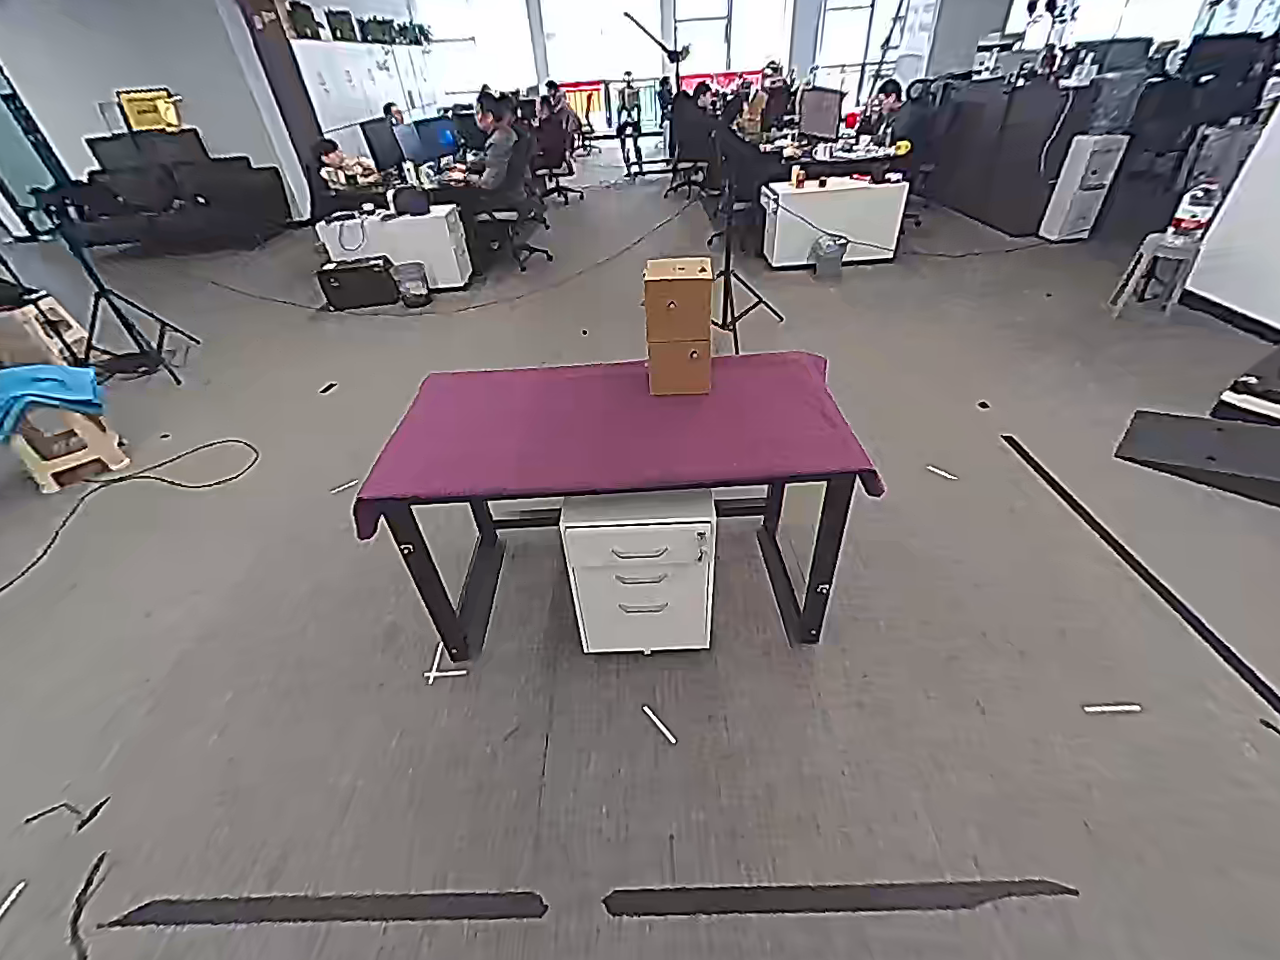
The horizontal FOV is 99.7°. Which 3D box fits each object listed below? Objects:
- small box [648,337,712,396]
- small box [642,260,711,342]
[{"bbox_3d":[0.115,-0.357,1.577,0.179,0.176,0.168,-2,39,4],"label":"small box"},{"bbox_3d":[0.103,-0.486,1.476,0.179,0.176,0.168,-1,39,6],"label":"small box"}]
